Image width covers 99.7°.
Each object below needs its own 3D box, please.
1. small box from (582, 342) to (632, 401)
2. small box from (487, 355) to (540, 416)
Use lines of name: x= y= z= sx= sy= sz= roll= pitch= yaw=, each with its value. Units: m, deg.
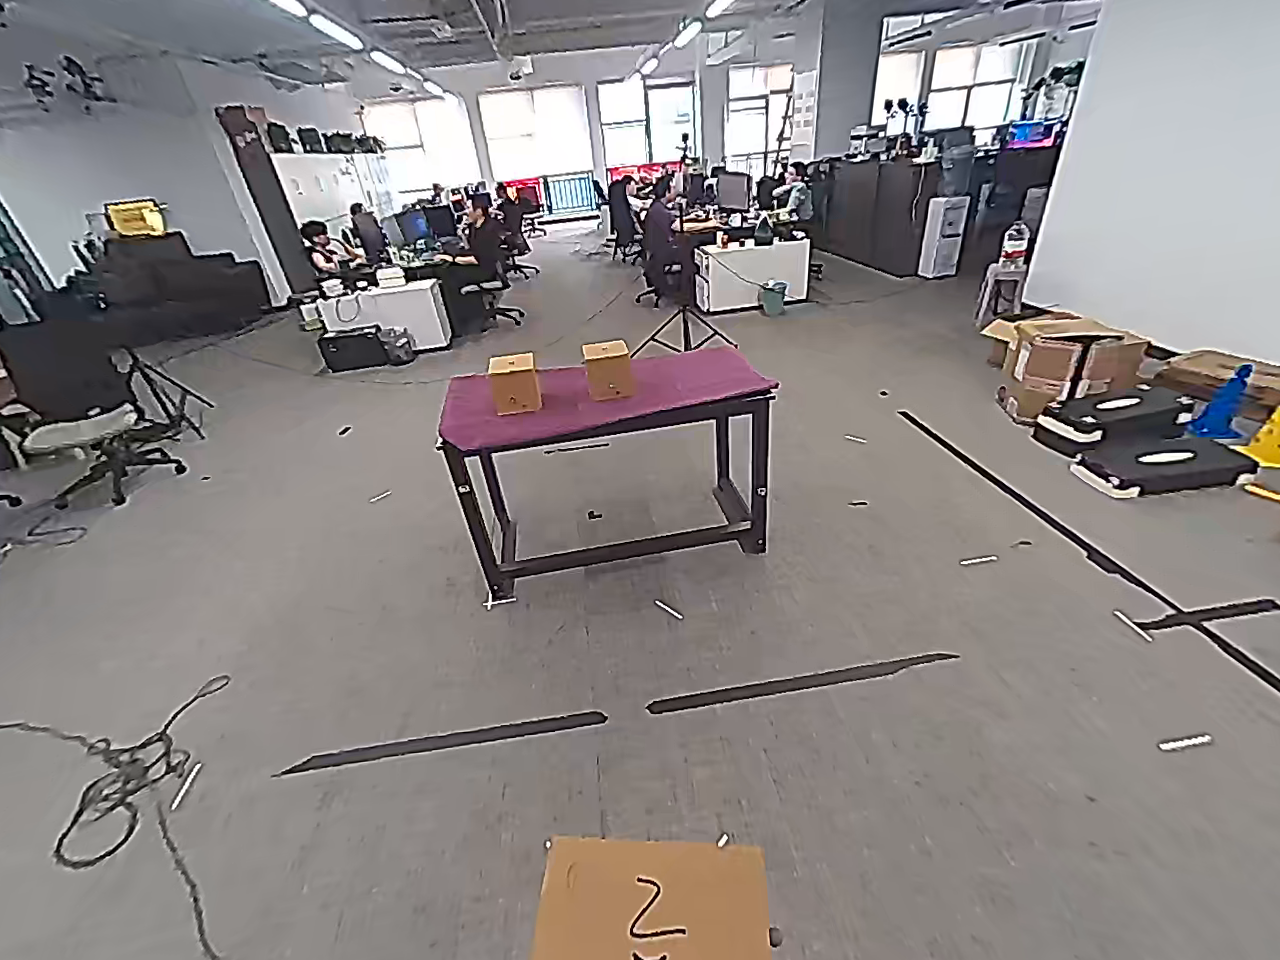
small box: x=-0.130 y=-0.421 z=2.091 sx=0.168 sy=0.176 sz=0.179 roll=-10 pitch=32 yaw=-5
small box: x=-0.477 y=-0.360 z=2.057 sx=0.168 sy=0.176 sz=0.179 roll=-9 pitch=33 yaw=-7
